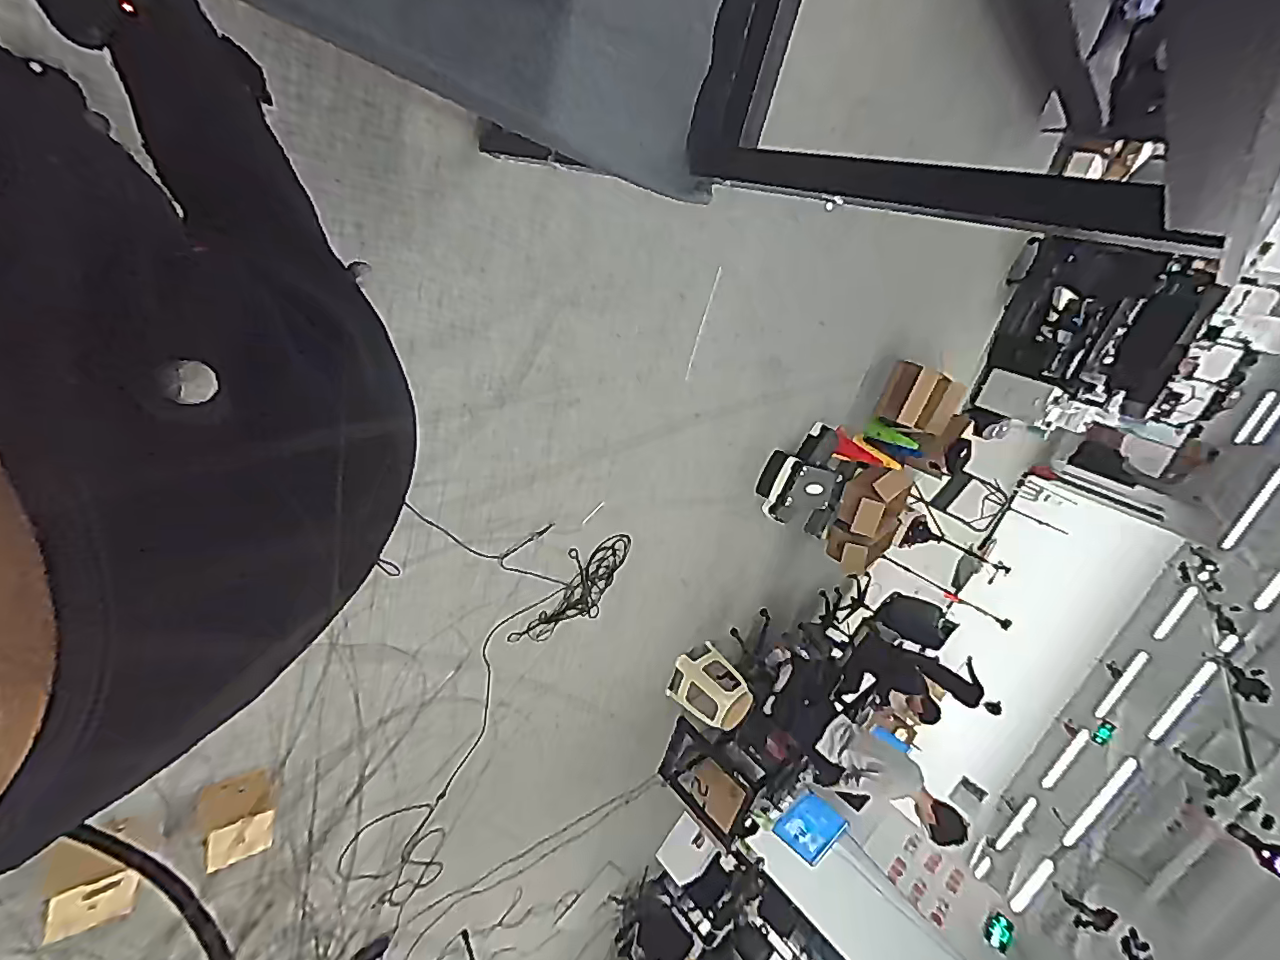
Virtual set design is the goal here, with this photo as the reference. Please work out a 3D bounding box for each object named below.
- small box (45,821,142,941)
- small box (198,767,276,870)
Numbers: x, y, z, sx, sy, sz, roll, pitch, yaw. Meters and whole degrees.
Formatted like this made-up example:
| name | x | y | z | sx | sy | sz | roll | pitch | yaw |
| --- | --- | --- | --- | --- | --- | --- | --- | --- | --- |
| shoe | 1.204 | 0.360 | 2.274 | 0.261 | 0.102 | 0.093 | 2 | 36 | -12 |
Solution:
| name | x | y | z | sx | sy | sz | roll | pitch | yaw |
| --- | --- | --- | --- | --- | --- | --- | --- | --- | --- |
| small box | -1.473 | 1.060 | 1.455 | 0.168 | 0.176 | 0.179 | 6 | 112 | -49 |
| small box | -1.256 | 1.044 | 1.682 | 0.168 | 0.176 | 0.179 | -3 | 118 | -47 |
